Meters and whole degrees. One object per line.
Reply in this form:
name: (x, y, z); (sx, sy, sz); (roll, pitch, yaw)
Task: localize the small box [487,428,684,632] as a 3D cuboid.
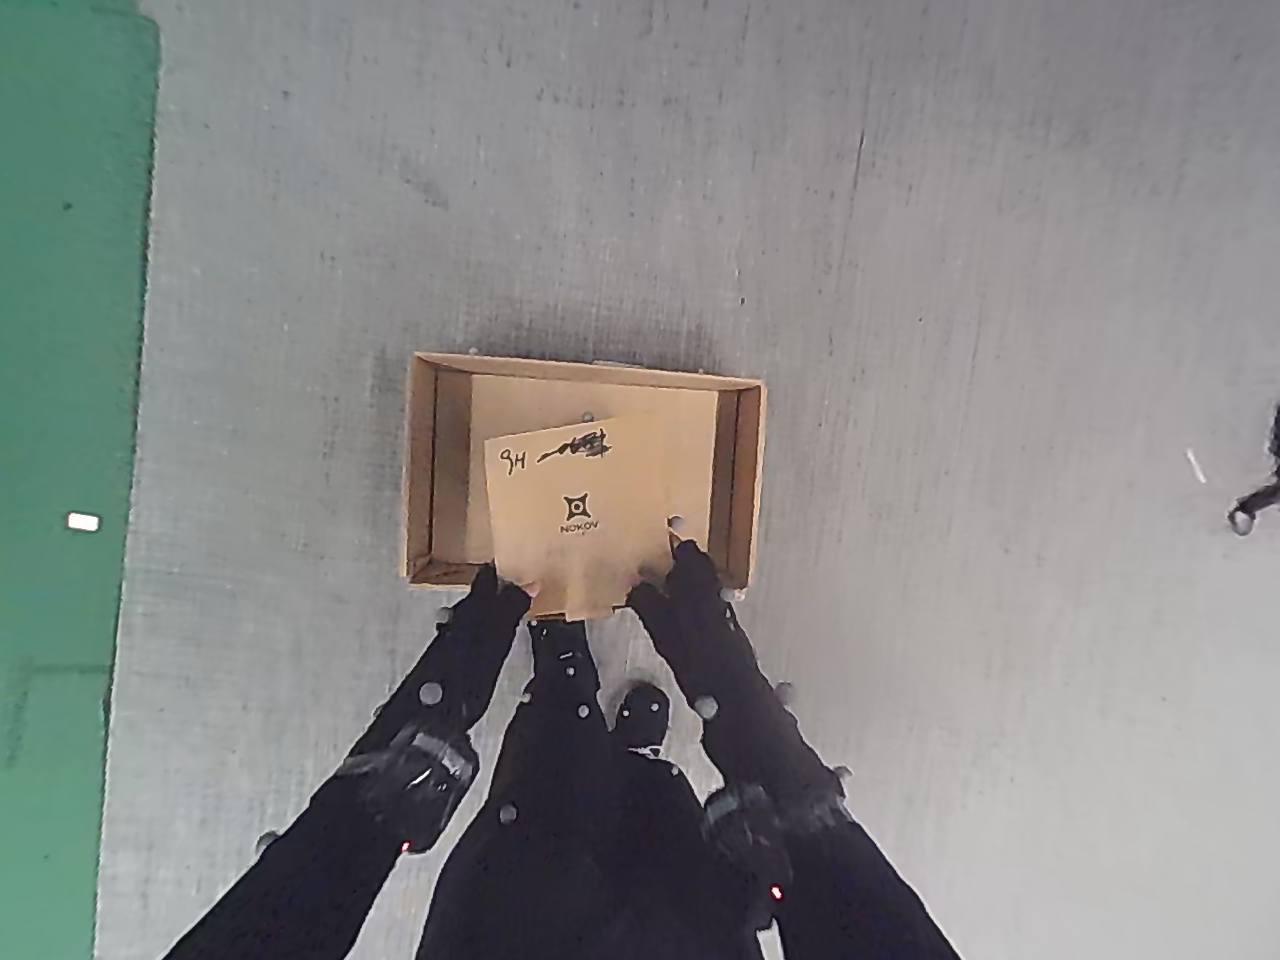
small box: (-0.048, 0.056, 0.597); (0.168, 0.176, 0.179); (-11, 81, 7)
